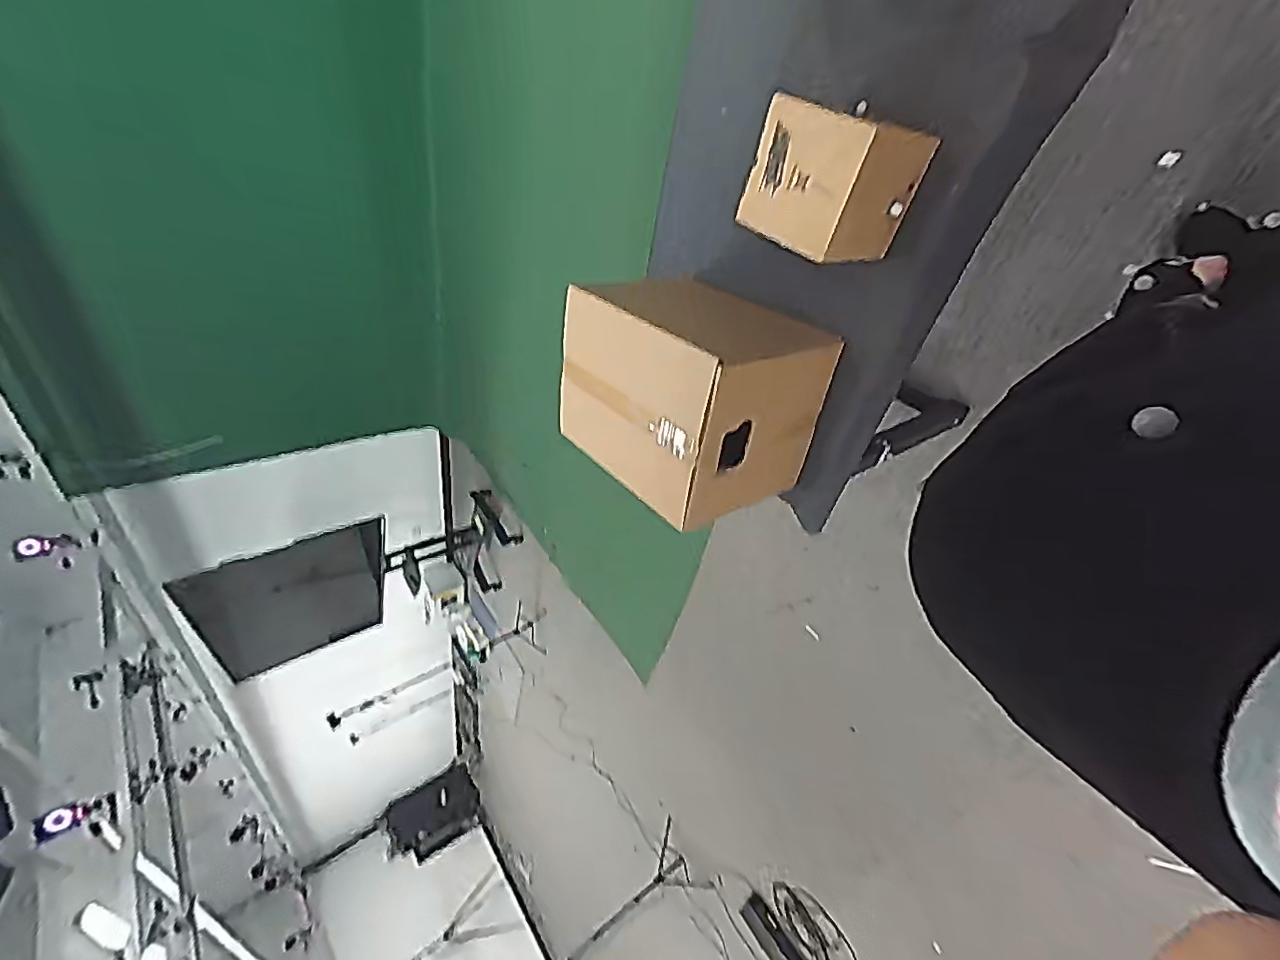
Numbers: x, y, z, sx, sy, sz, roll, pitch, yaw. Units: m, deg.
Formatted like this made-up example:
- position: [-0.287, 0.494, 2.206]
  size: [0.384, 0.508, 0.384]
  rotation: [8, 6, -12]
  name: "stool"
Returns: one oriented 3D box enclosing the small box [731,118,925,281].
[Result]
- position: [0.272, -0.412, 0.800]
  size: [0.179, 0.176, 0.168]
  rotation: [44, 139, 31]
  name: "small box"
